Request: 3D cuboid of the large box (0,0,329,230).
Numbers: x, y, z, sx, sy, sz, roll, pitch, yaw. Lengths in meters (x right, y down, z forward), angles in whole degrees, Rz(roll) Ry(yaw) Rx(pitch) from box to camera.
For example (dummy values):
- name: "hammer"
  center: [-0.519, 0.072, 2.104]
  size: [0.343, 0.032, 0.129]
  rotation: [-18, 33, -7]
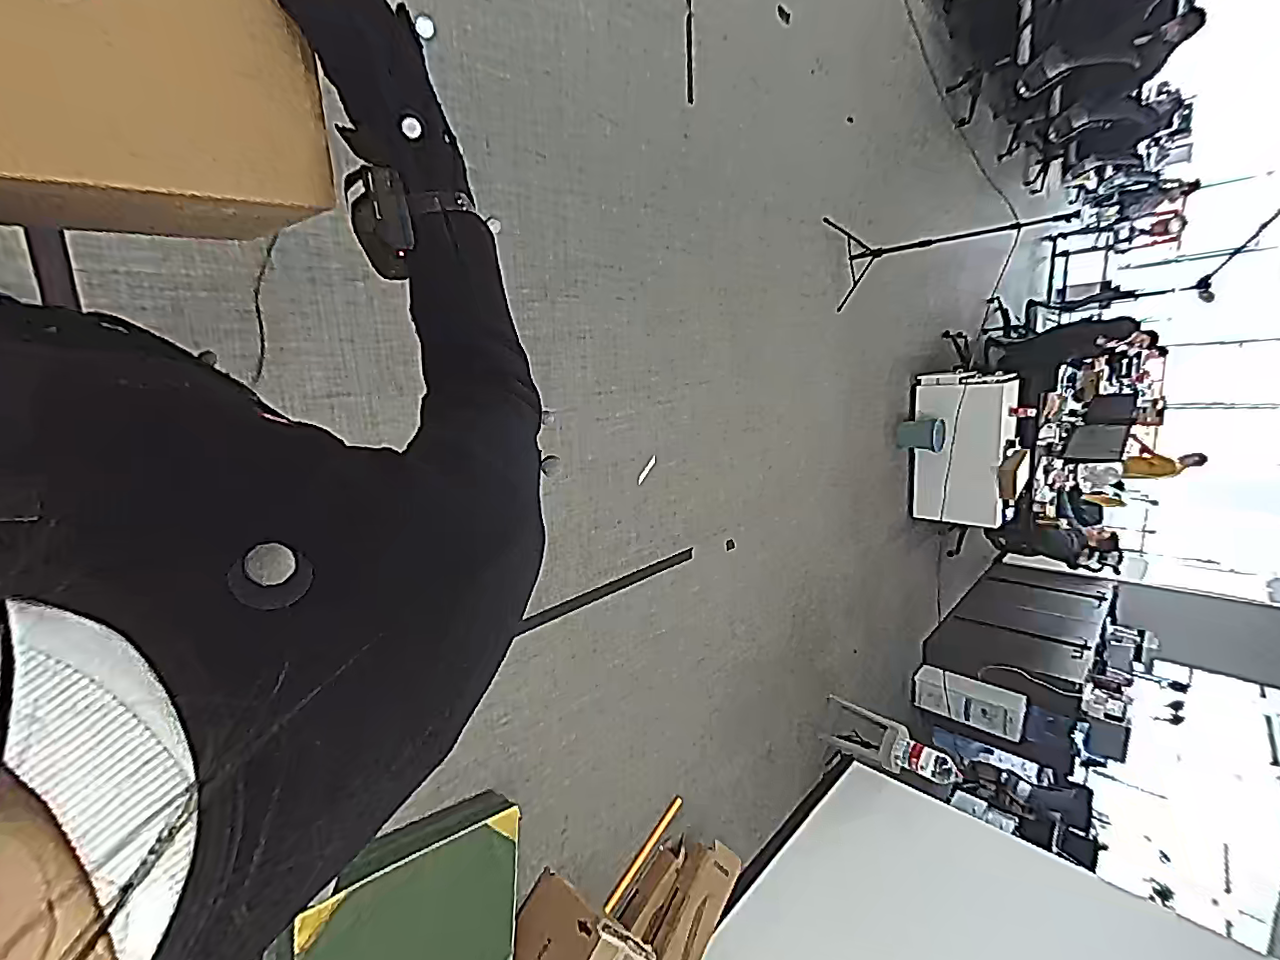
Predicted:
- name: "large box"
  center: [-0.480, -0.341, 0.327]
  size: [0.408, 0.320, 0.320]
  rotation: [-18, 117, -42]
